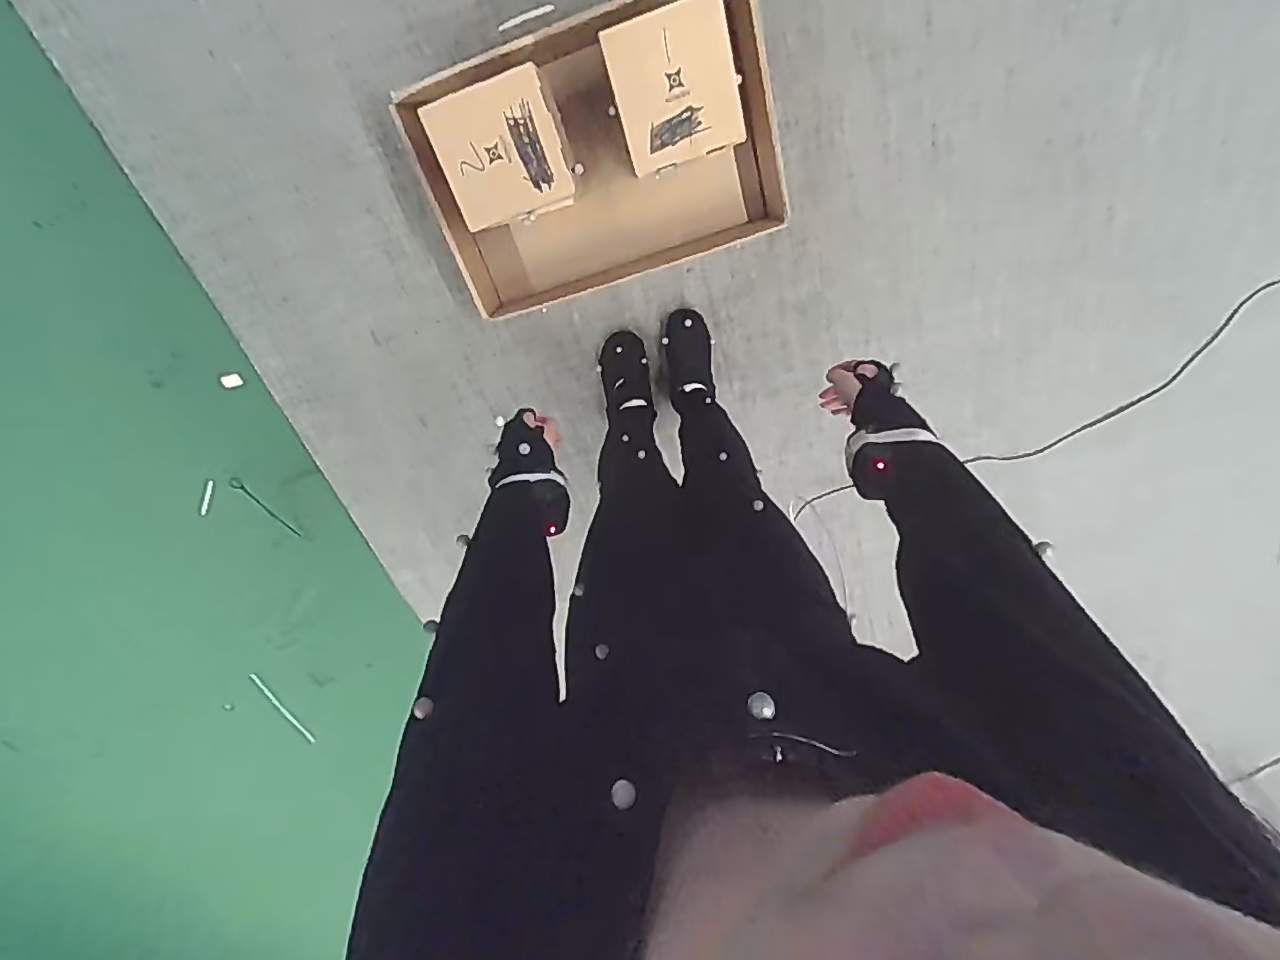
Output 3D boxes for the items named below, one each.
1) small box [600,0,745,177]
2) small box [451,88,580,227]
[{"bbox_3d":[0.050,-0.572,0.802,0.168,0.176,0.179,-15,118,8],"label":"small box"},{"bbox_3d":[-0.213,-0.580,0.986,0.168,0.176,0.179,-13,118,6],"label":"small box"}]
